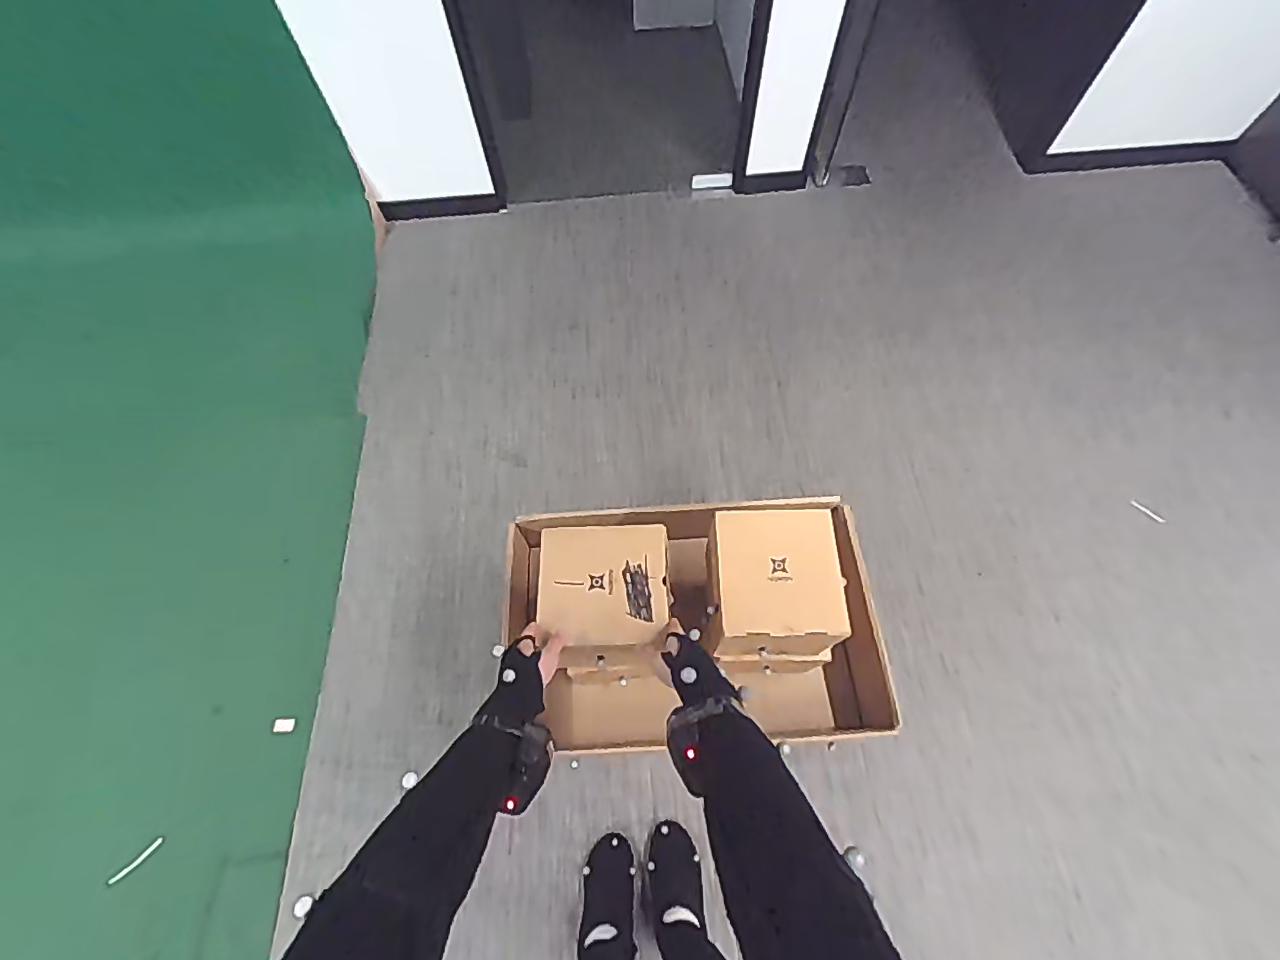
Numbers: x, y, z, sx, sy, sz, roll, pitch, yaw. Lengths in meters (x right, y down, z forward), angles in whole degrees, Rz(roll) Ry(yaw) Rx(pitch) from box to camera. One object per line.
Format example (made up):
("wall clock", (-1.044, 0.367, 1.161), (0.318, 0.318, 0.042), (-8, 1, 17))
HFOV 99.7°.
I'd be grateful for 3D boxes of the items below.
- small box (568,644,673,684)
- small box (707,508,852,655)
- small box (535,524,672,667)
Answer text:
("small box", (-0.038, 0.245, 0.938), (0.168, 0.176, 0.179), (-7, 64, -2))
("small box", (0.190, 0.154, 0.799), (0.168, 0.176, 0.179), (-1, 63, 1))
("small box", (-0.046, 0.173, 0.788), (0.179, 0.176, 0.168), (-1, 61, 1))
